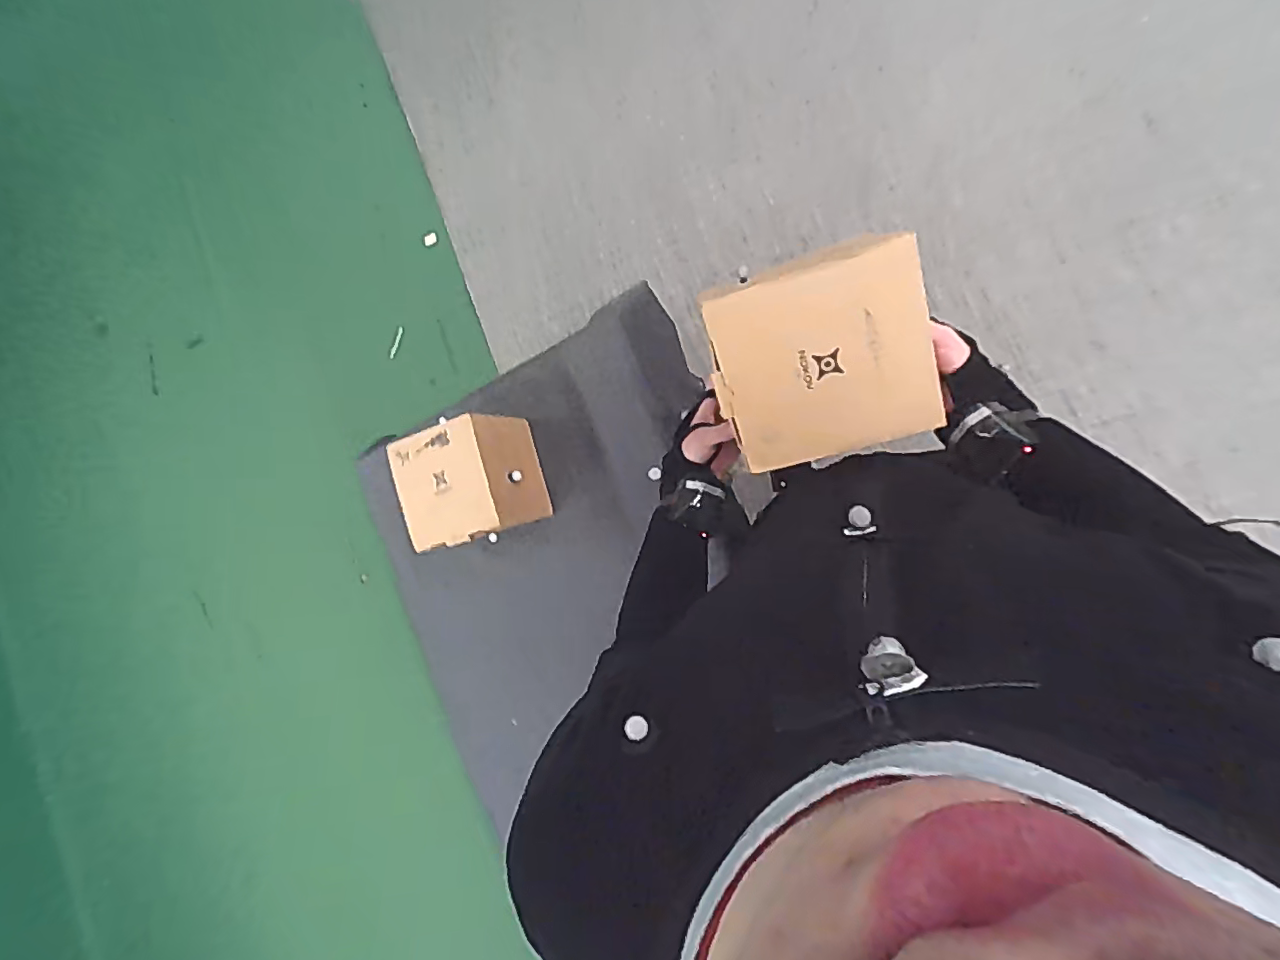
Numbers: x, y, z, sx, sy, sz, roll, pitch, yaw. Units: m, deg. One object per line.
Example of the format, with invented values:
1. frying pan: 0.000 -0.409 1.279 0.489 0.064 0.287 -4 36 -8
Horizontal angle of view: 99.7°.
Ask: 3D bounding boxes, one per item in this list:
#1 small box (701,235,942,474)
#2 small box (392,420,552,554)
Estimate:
1. small box: 0.169 -0.128 0.539 0.179 0.176 0.168 -16 110 13
2. small box: -0.269 0.008 0.898 0.168 0.176 0.179 -17 88 18
